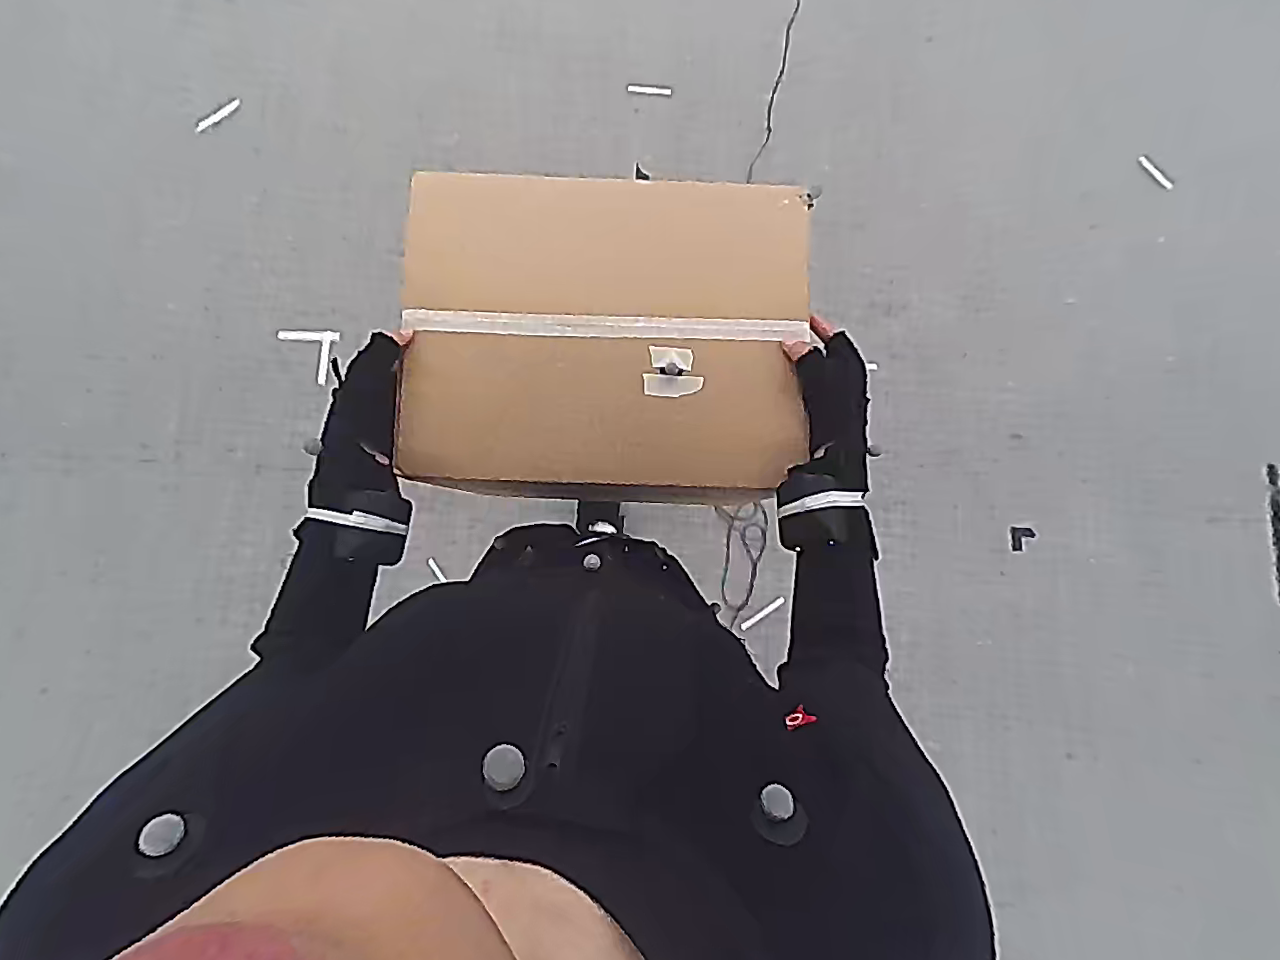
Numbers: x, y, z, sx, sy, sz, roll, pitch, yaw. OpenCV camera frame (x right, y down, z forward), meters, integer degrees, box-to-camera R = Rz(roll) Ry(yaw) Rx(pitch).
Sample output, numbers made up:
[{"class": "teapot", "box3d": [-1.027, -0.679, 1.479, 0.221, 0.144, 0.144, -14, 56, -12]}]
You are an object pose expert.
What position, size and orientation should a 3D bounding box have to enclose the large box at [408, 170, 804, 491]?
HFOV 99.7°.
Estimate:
[{"class": "large box", "box3d": [-0.035, -0.153, 0.702, 0.408, 0.320, 0.320, 3, 86, -1]}]
